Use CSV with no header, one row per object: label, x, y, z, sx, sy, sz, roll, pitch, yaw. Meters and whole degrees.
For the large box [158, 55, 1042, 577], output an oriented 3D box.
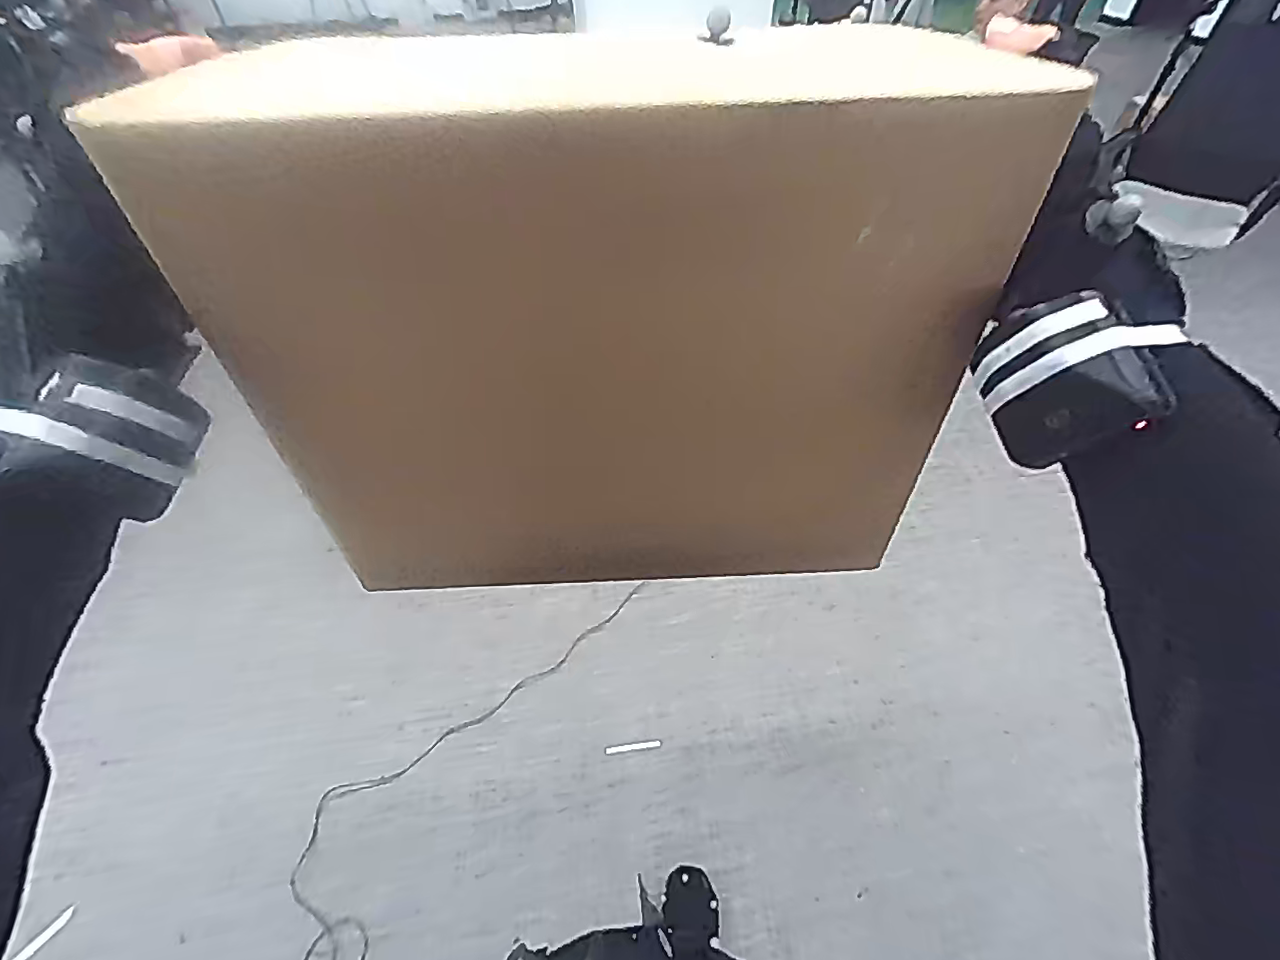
large box,-0.020,-0.141,0.447,0.408,0.320,0.320,-2,43,-2
